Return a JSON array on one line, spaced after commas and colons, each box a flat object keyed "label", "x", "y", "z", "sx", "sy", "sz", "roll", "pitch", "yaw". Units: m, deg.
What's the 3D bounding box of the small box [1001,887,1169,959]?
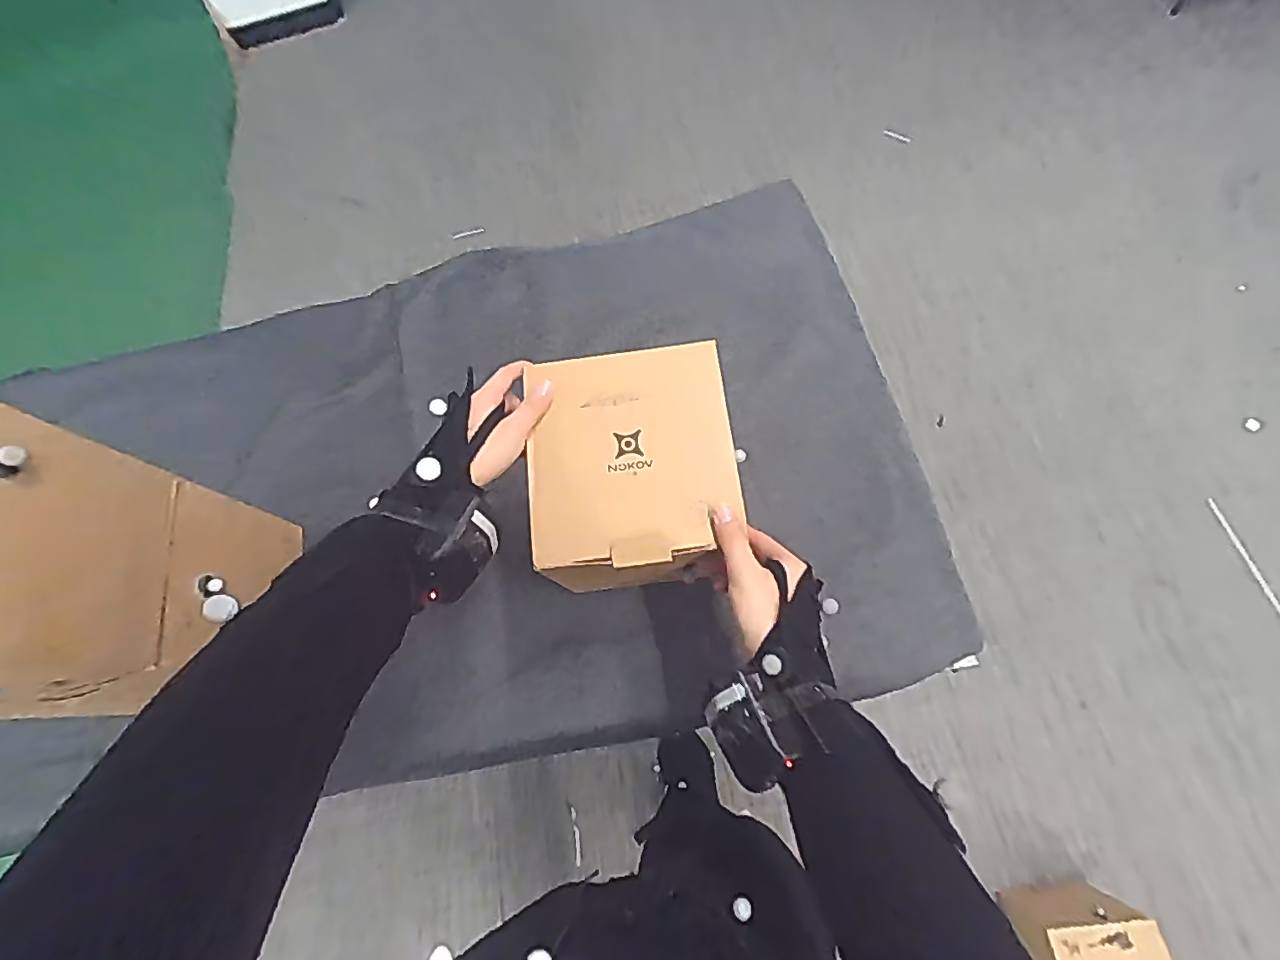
[{"label": "small box", "x": 0.740, "y": 0.807, "z": 0.888, "sx": 0.168, "sy": 0.176, "sz": 0.179, "roll": -9, "pitch": 69, "yaw": 5}]

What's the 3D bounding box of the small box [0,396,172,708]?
[{"label": "small box", "x": -0.494, "y": 0.061, "z": 0.394, "sx": 0.168, "sy": 0.176, "sz": 0.179, "roll": -17, "pitch": 67, "yaw": 1}]

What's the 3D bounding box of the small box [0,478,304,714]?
[{"label": "small box", "x": -0.472, "y": 0.124, "z": 0.545, "sx": 0.168, "sy": 0.176, "sz": 0.179, "roll": -15, "pitch": 66, "yaw": 1}]

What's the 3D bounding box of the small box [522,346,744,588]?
[{"label": "small box", "x": -0.005, "y": 0.003, "z": 0.505, "sx": 0.168, "sy": 0.176, "sz": 0.179, "roll": -8, "pitch": 72, "yaw": 1}]
